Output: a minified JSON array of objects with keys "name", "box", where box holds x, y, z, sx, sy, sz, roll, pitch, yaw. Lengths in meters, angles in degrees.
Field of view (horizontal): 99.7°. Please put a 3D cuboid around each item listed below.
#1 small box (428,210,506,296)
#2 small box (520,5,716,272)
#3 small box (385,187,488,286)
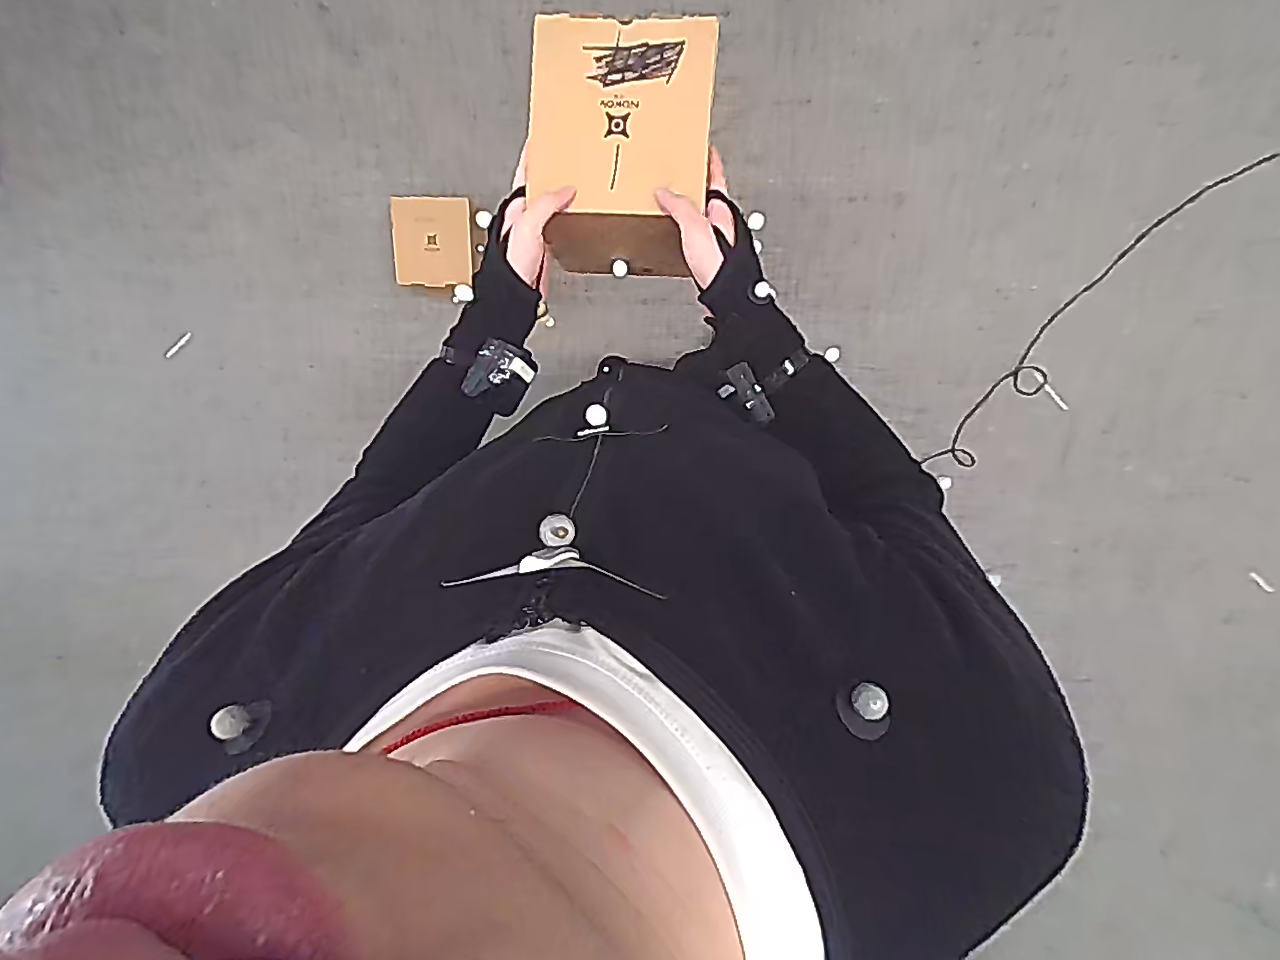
[{"name":"small box","box":[-0.439,-0.569,1.363,0.168,0.176,0.179,3,103,0]},{"name":"small box","box":[-0.017,-0.337,0.564,0.168,0.176,0.179,5,95,4]},{"name":"small box","box":[-0.442,-0.533,1.205,0.168,0.176,0.179,0,102,0]}]
